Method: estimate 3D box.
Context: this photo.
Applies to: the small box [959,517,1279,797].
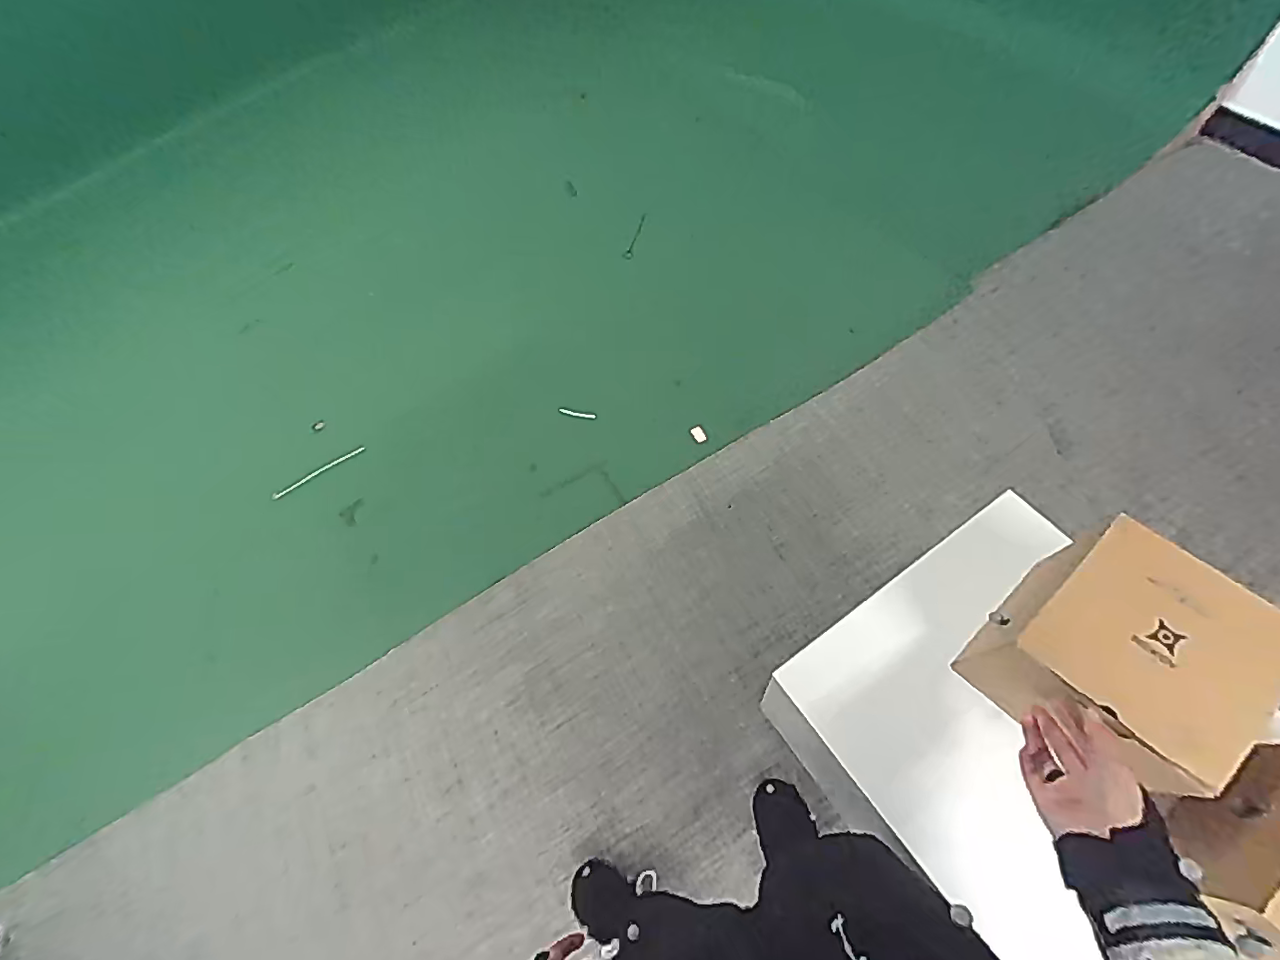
[{"bbox_3d":[0.456,0.174,0.536,0.179,0.176,0.168,-43,67,-12],"label":"small box"}]
